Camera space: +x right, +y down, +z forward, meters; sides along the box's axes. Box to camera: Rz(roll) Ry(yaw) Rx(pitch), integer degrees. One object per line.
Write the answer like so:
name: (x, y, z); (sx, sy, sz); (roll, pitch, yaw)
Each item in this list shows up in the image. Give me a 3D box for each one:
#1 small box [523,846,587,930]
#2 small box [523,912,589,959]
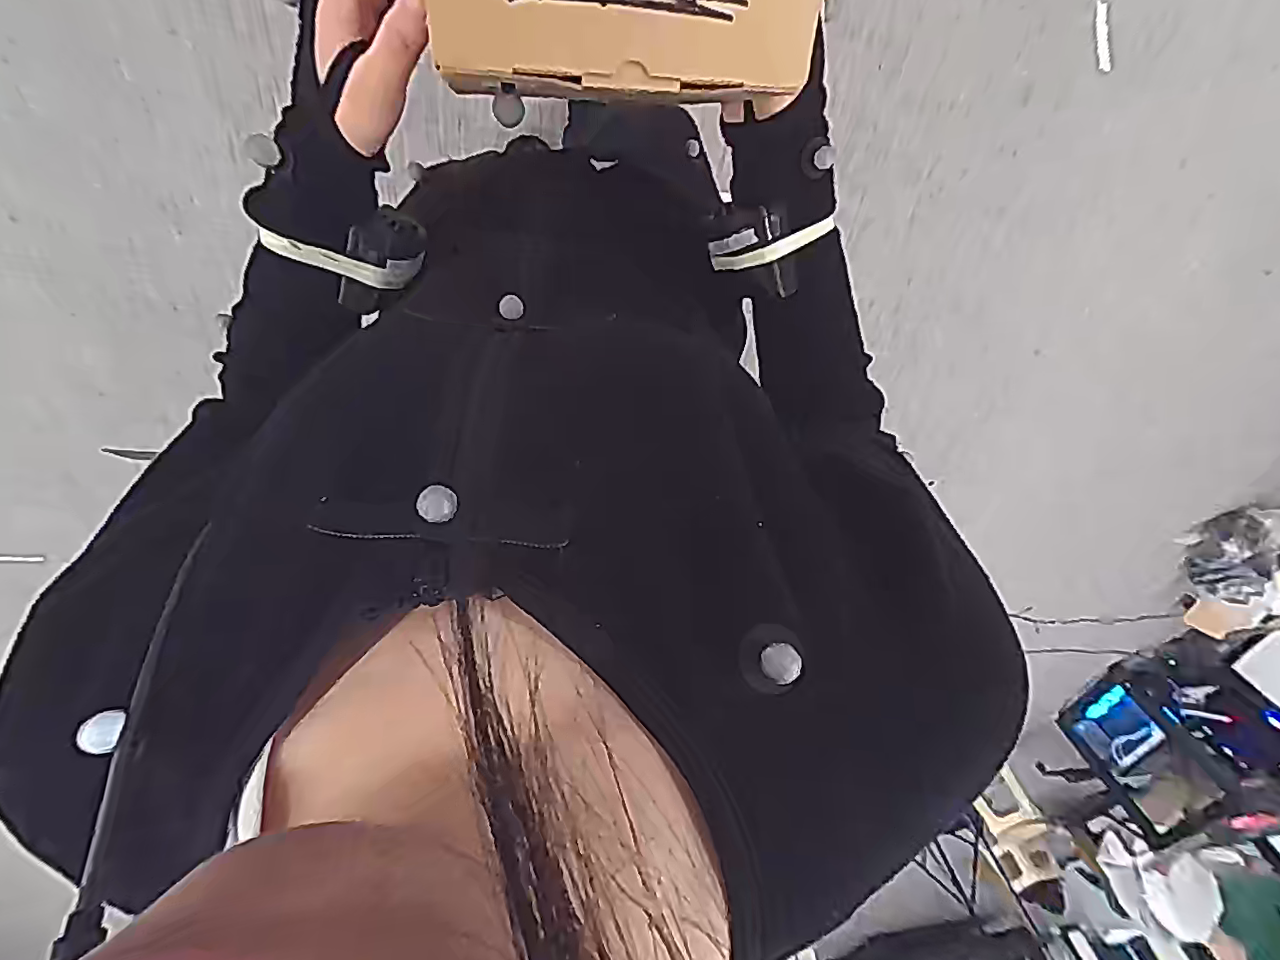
small box: (-0.254, 1.201, 1.591); (0.168, 0.176, 0.179); (4, 126, -14)
small box: (-0.230, 1.304, 1.466); (0.168, 0.176, 0.179); (3, 127, -14)
